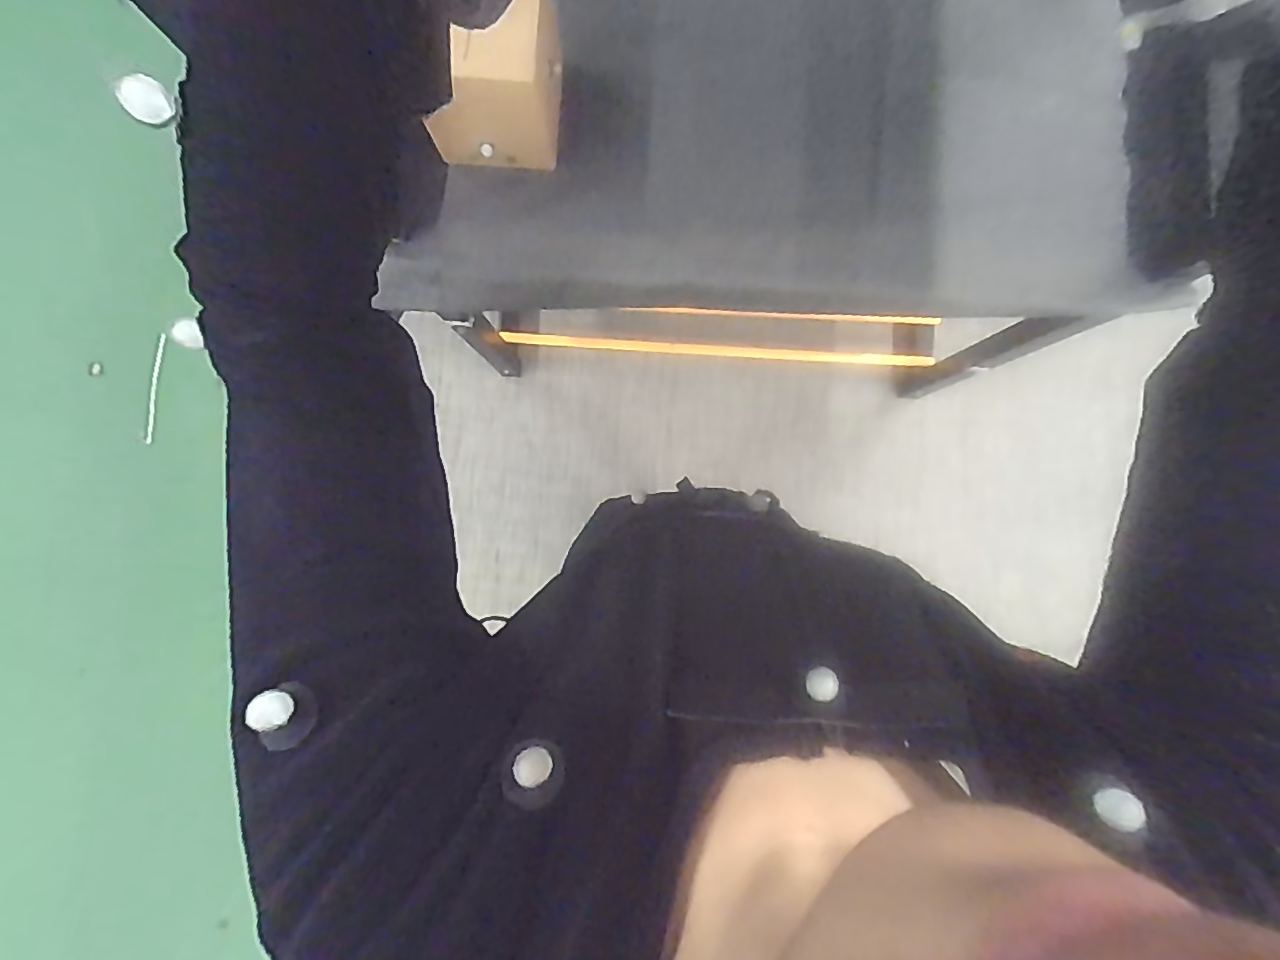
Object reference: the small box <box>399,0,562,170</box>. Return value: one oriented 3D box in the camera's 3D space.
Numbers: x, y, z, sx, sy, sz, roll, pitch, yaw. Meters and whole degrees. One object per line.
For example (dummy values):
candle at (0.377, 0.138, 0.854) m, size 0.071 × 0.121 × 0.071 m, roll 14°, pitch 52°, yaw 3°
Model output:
small box at (-0.200, -0.557, 0.726) m, size 0.168 × 0.176 × 0.179 m, roll 3°, pitch 87°, yaw 0°
